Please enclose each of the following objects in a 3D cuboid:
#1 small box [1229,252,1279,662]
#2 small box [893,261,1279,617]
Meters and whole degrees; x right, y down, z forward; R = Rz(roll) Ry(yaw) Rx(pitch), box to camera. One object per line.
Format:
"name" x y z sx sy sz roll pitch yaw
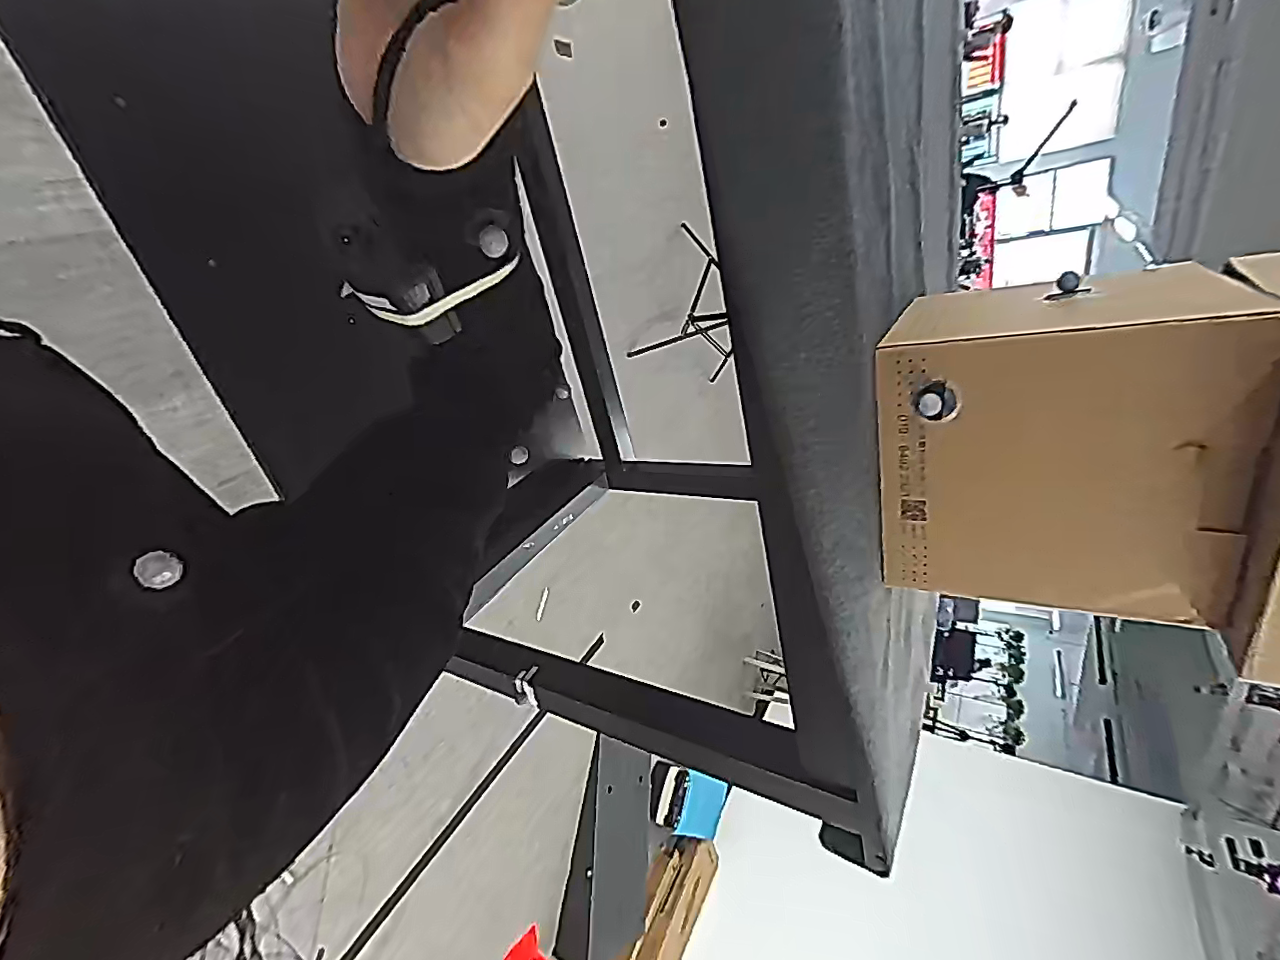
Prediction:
"small box" 0.388 -0.014 0.248 0.179 0.176 0.168 -47 131 -45
"small box" 0.269 -0.037 0.360 0.179 0.176 0.168 -40 125 -49
